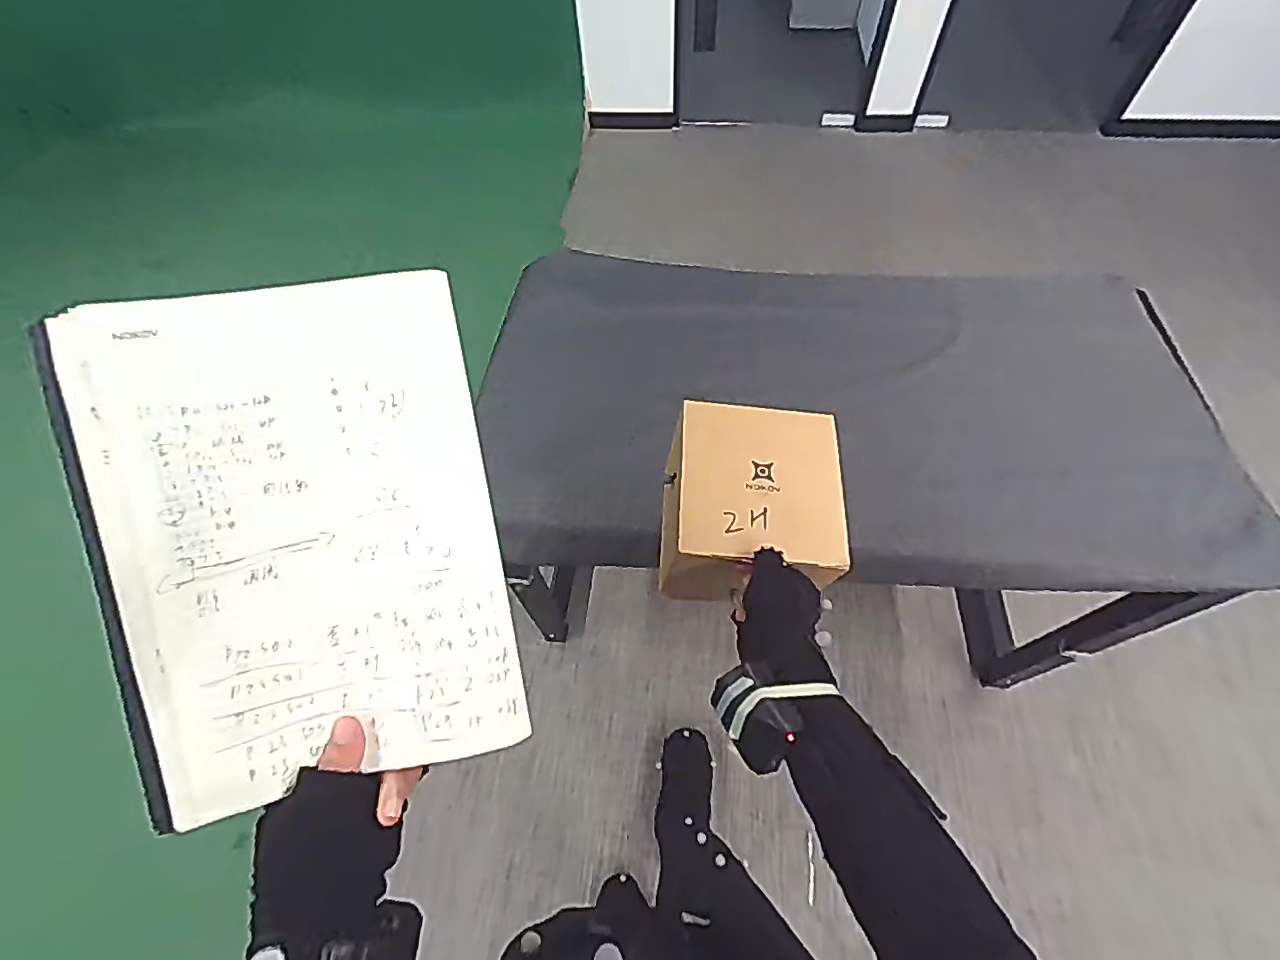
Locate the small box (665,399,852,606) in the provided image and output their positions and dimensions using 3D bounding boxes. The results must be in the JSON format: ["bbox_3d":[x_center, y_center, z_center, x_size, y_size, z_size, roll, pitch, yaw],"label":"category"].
[{"bbox_3d":[0.121,0.032,0.619,0.168,0.176,0.179,5,63,-2],"label":"small box"}]
